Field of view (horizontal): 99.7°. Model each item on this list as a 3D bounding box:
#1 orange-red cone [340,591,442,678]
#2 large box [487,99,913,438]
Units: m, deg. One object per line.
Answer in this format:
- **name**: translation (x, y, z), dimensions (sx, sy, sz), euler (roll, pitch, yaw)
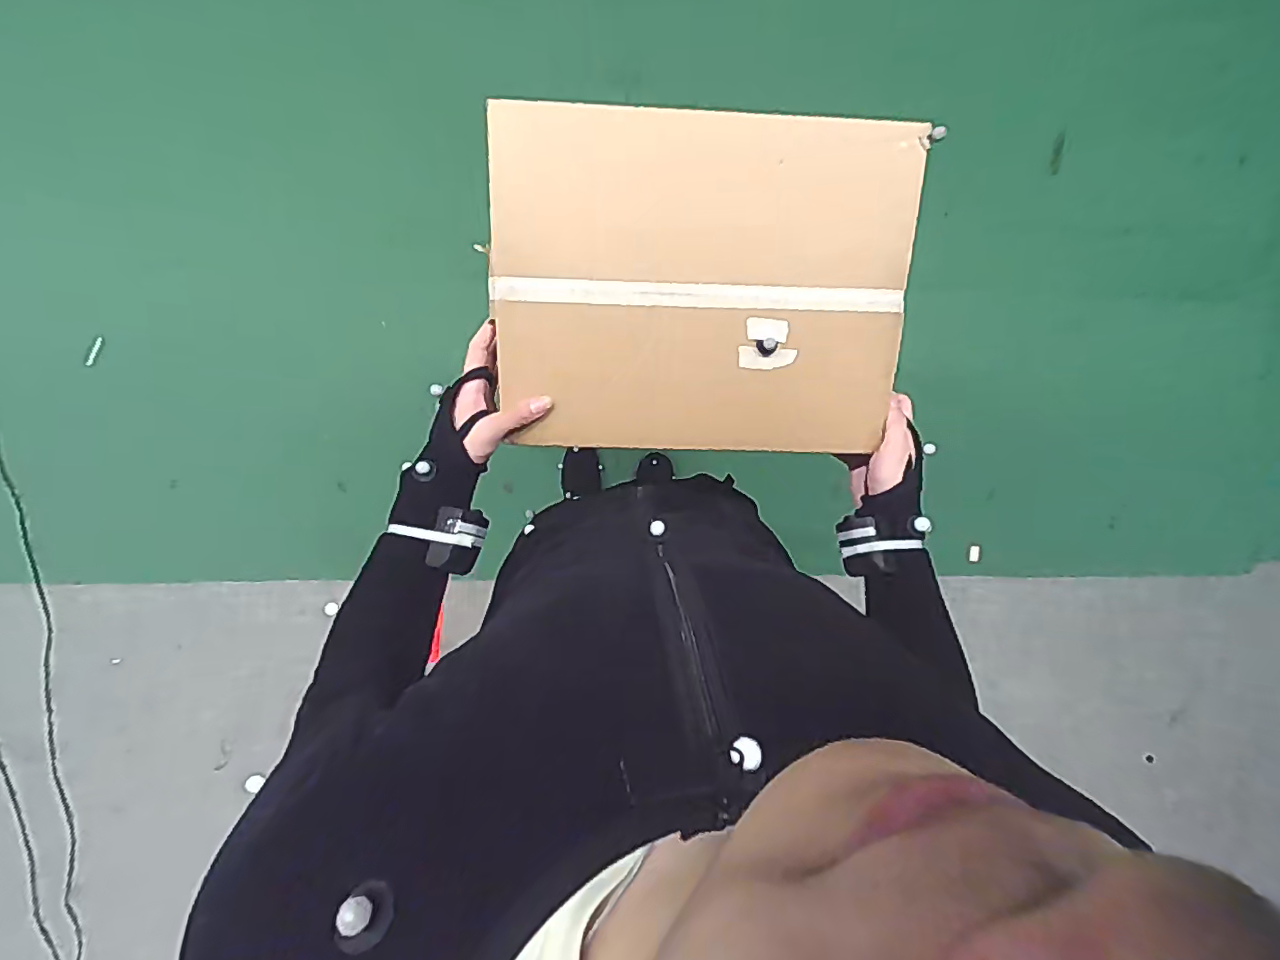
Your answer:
- **orange-red cone**: translation (-0.704, 0.449, 1.463), dimensions (0.199, 0.360, 0.198), euler (8, 92, -1)
- **large box**: translation (0.048, -0.234, 0.678), dimensions (0.408, 0.320, 0.320), euler (0, 107, -4)
